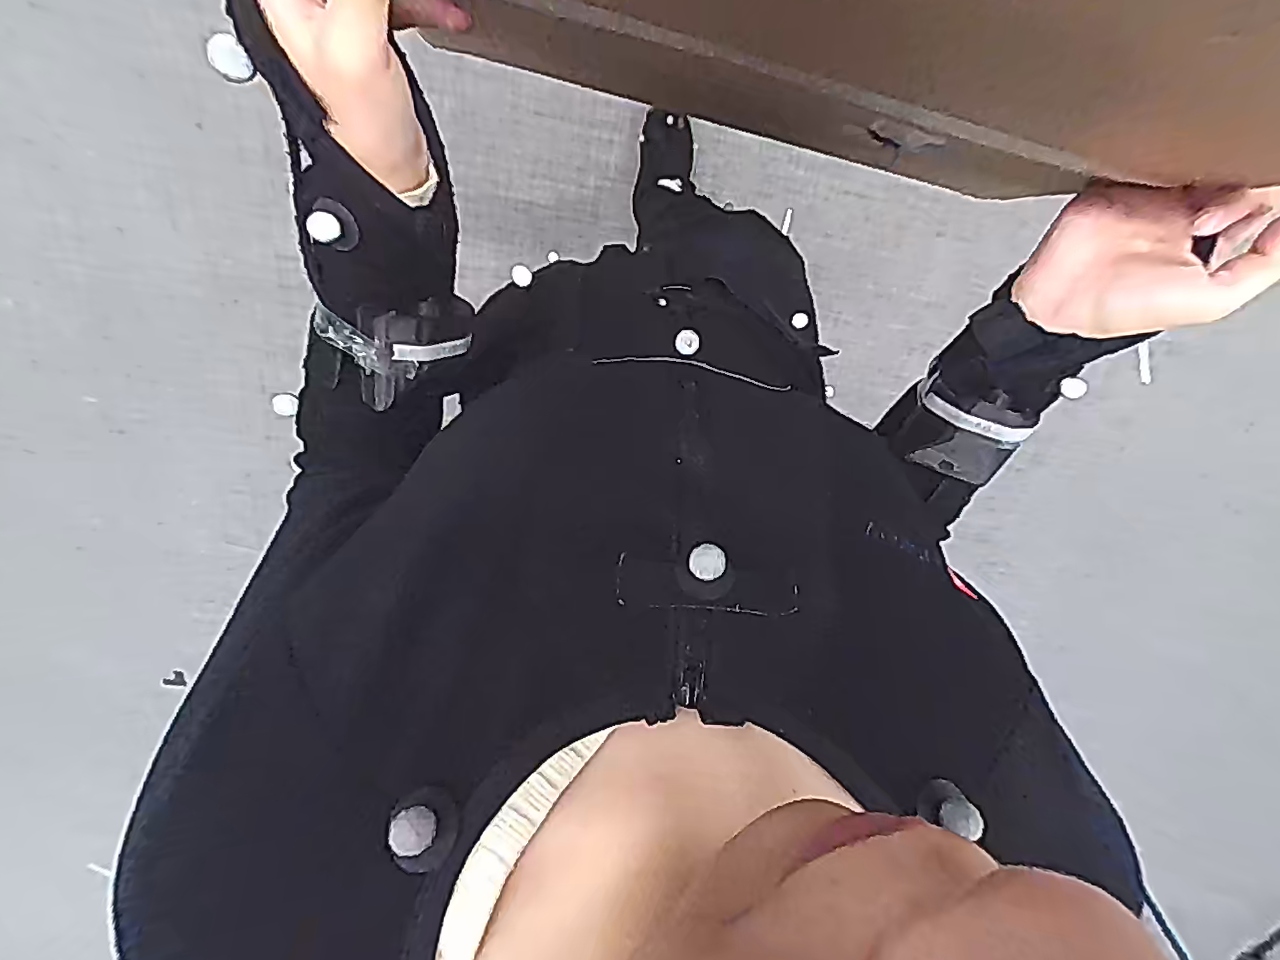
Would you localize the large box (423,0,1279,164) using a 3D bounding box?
[{"bbox_3d":[0.109,-0.326,0.161,0.408,0.320,0.320,8,116,-10],"label":"large box"}]
